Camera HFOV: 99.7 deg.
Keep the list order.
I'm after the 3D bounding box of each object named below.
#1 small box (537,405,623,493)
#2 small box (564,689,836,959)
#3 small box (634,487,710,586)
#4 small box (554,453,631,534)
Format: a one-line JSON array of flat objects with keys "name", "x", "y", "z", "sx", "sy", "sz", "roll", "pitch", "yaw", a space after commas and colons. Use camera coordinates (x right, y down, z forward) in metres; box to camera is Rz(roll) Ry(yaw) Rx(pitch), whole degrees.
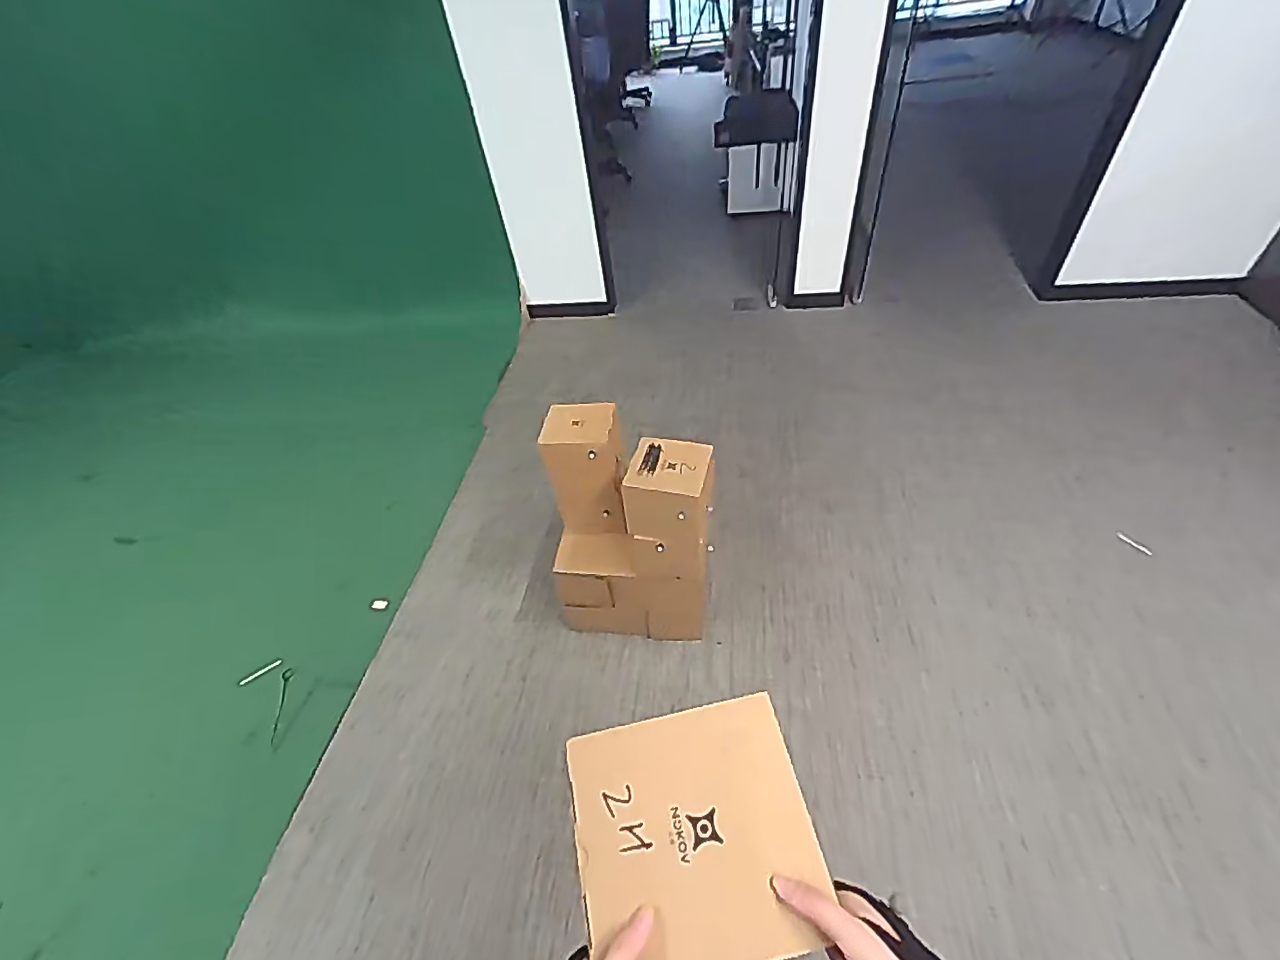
[{"name": "small box", "x": -0.147, "y": -0.080, "z": 1.409, "sx": 0.179, "sy": 0.176, "sz": 0.168, "roll": 0, "pitch": 44, "yaw": 8}, {"name": "small box", "x": 0.040, "y": 0.302, "z": 0.472, "sx": 0.179, "sy": 0.176, "sz": 0.168, "roll": -12, "pitch": 53, "yaw": -3}, {"name": "small box", "x": 0.087, "y": 0.143, "z": 1.379, "sx": 0.168, "sy": 0.176, "sz": 0.179, "roll": 4, "pitch": 45, "yaw": 12}, {"name": "small box", "x": -0.124, "y": 0.039, "z": 1.518, "sx": 0.179, "sy": 0.176, "sz": 0.168, "roll": -1, "pitch": 43, "yaw": 8}]
